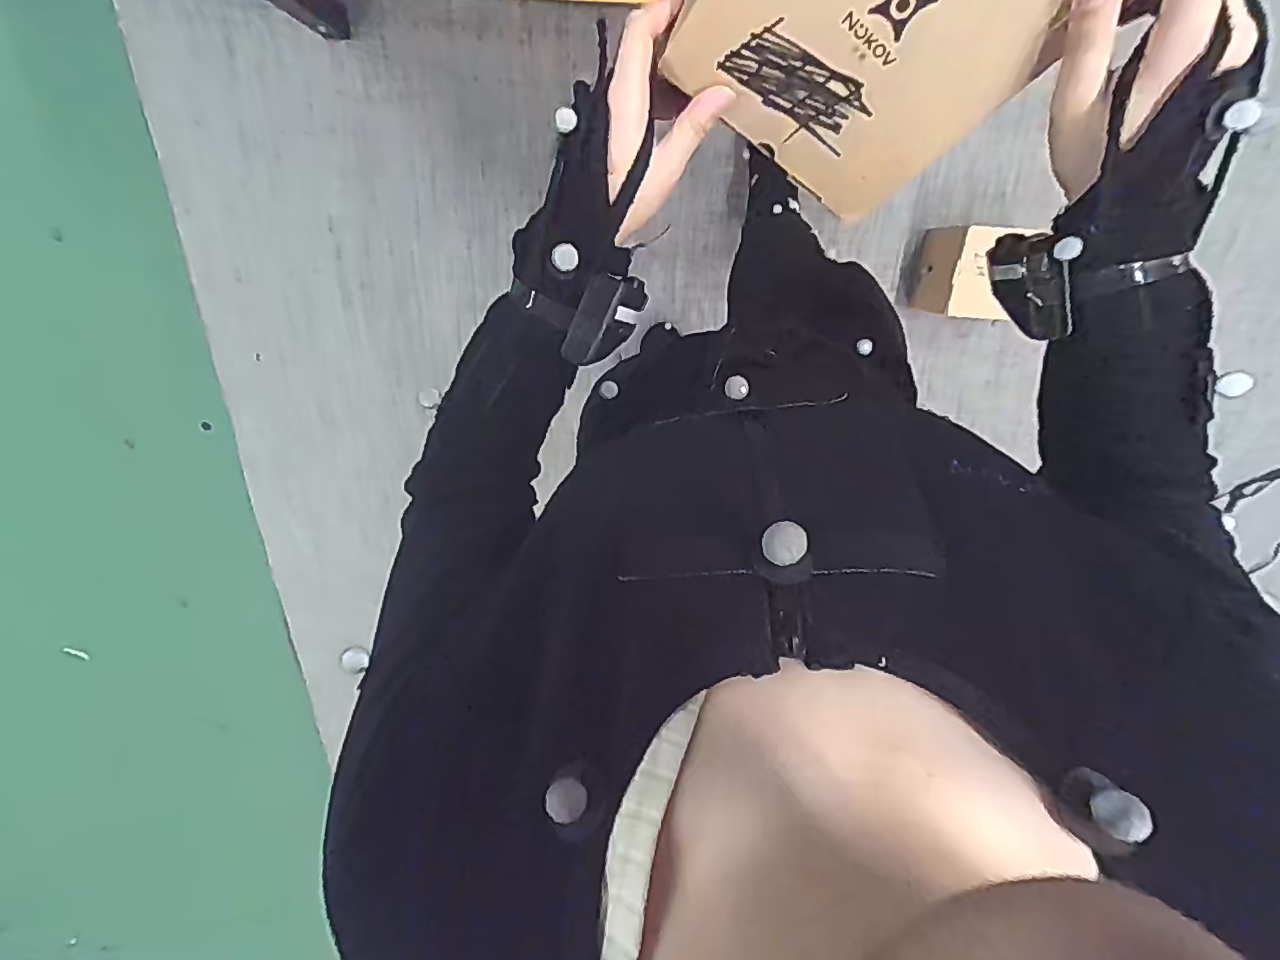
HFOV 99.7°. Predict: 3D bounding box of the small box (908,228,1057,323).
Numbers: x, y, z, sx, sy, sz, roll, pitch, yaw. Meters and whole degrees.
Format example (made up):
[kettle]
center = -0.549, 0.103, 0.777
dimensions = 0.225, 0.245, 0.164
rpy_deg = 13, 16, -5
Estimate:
[small box]
center = 0.692, -0.421, 1.114
dimensions = 0.179, 0.176, 0.168
rpy_deg = 3, 111, 0
